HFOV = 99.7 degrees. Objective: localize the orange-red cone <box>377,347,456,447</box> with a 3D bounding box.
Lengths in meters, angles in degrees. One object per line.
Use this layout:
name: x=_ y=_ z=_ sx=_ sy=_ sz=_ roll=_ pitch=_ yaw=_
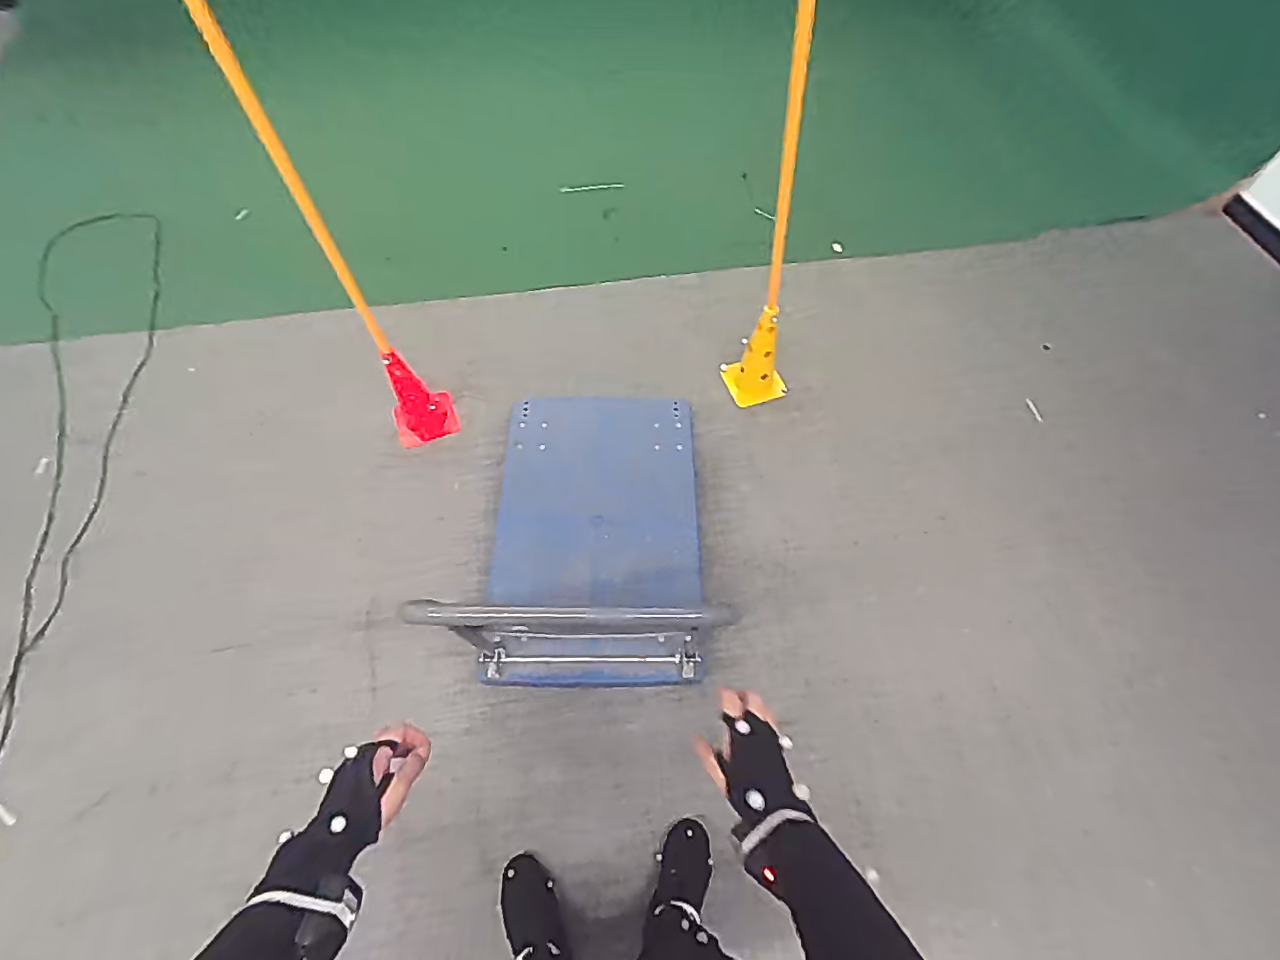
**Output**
orange-red cone: x=-0.765 y=-0.297 z=1.766 sx=0.199 sy=0.360 sz=0.198 roll=-21 pitch=62 yaw=-9
